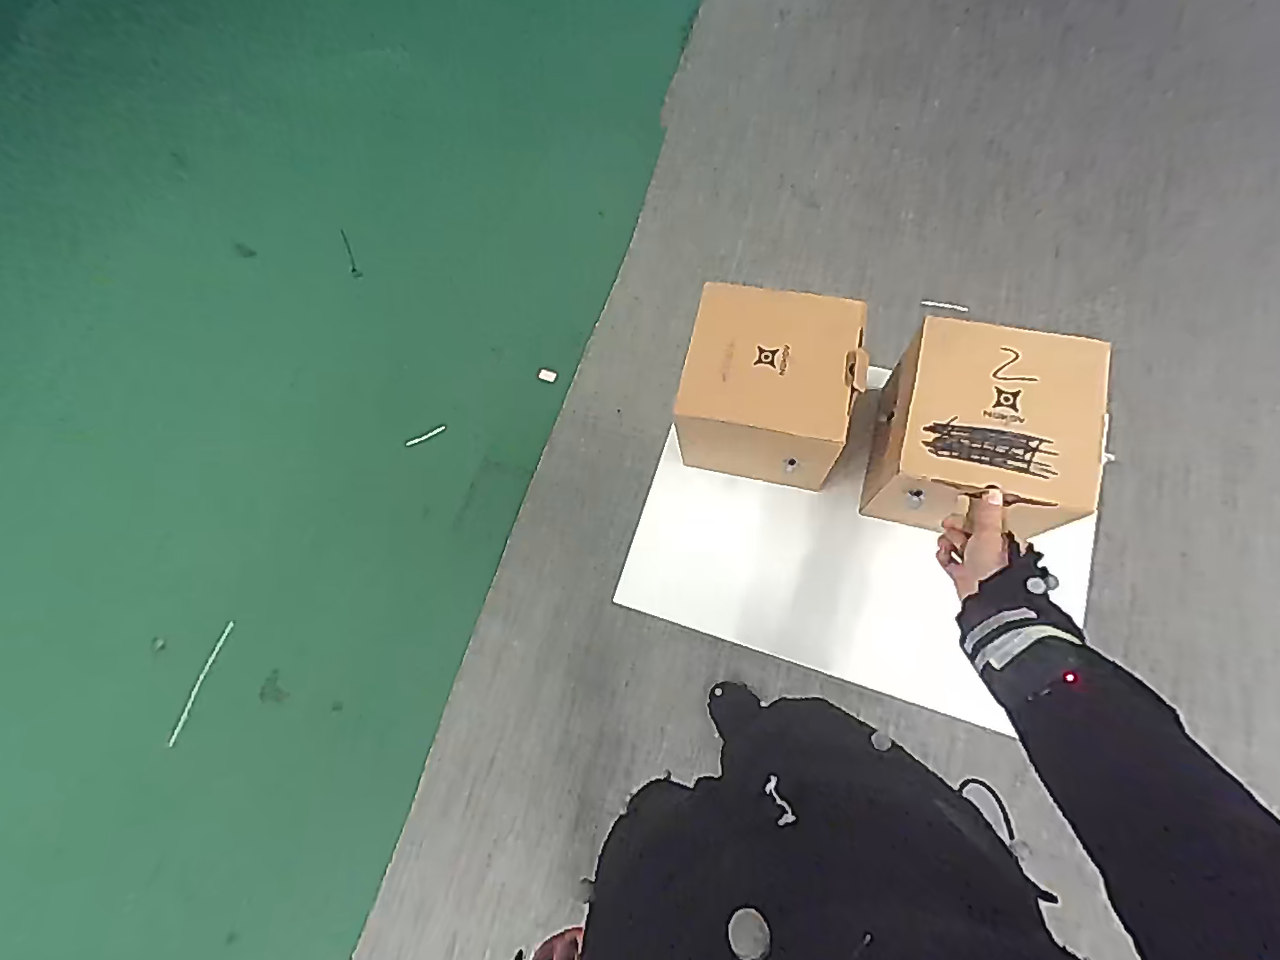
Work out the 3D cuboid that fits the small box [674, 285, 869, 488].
[{"bbox_3d":[0.149,-0.099,0.636,0.179,0.176,0.168,11,73,12],"label":"small box"}]
